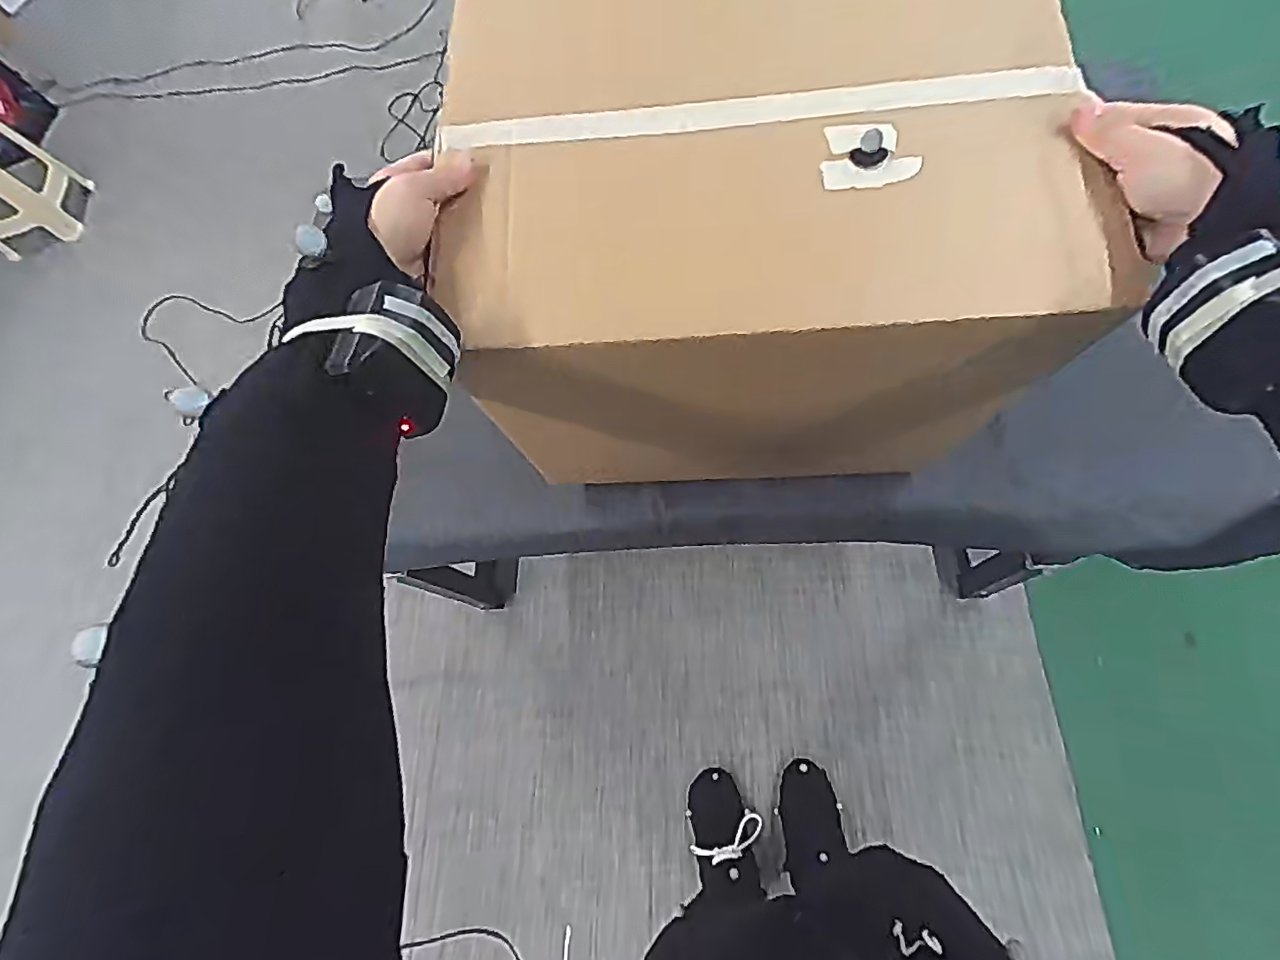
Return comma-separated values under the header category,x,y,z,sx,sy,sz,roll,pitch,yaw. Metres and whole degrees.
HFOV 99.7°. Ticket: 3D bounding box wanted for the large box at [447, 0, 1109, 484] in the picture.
category,x,y,z,sx,sy,sz,roll,pitch,yaw
large box,0.078,-0.193,0.507,0.408,0.320,0.320,-3,74,3
